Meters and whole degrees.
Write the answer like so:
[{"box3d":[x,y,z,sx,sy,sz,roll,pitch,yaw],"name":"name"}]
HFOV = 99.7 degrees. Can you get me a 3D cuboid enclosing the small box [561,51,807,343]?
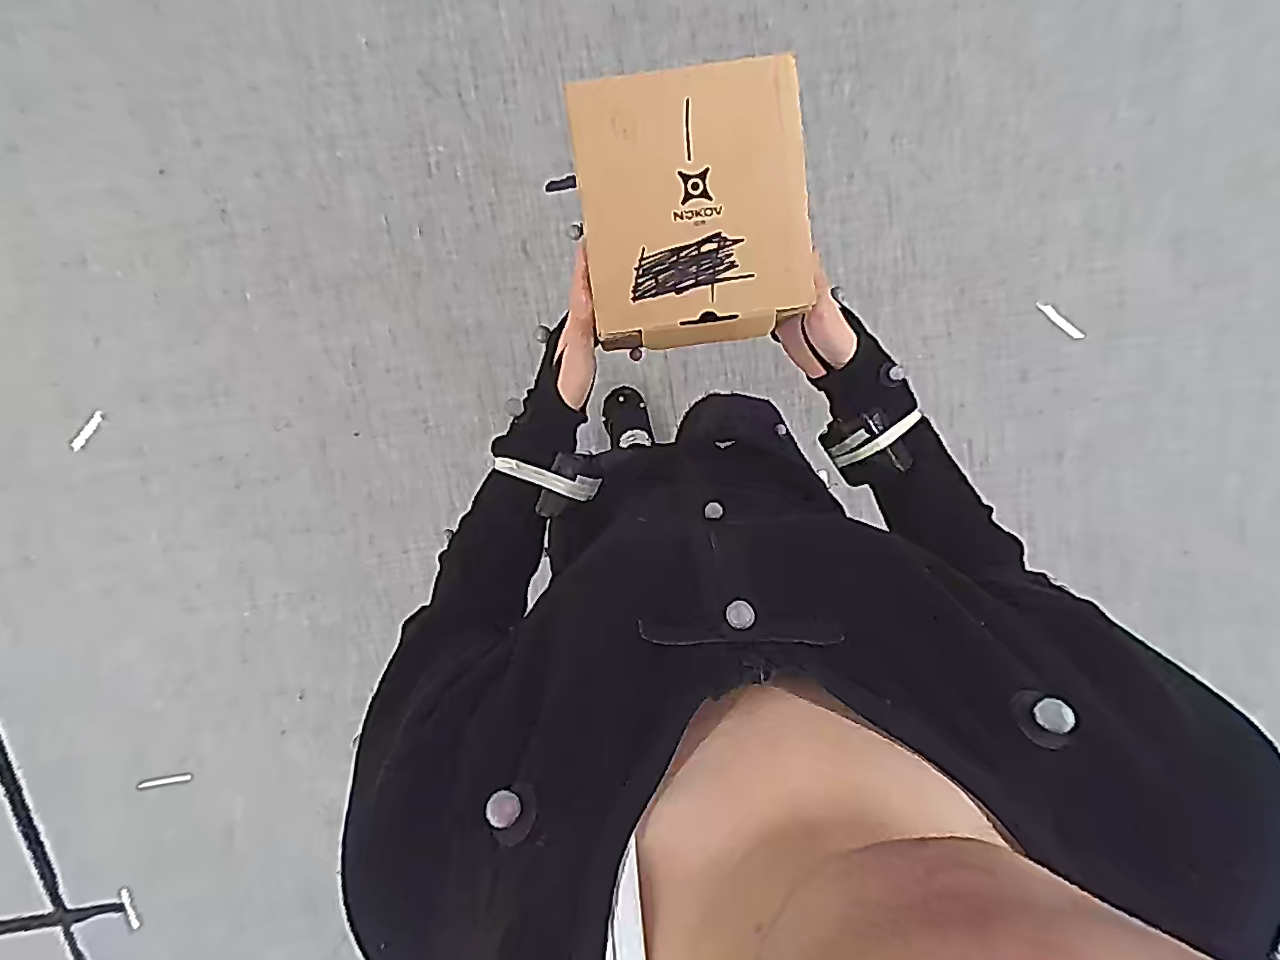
[{"box3d":[0.033,-0.218,0.468,0.168,0.176,0.179,-8,99,-1],"name":"small box"}]
